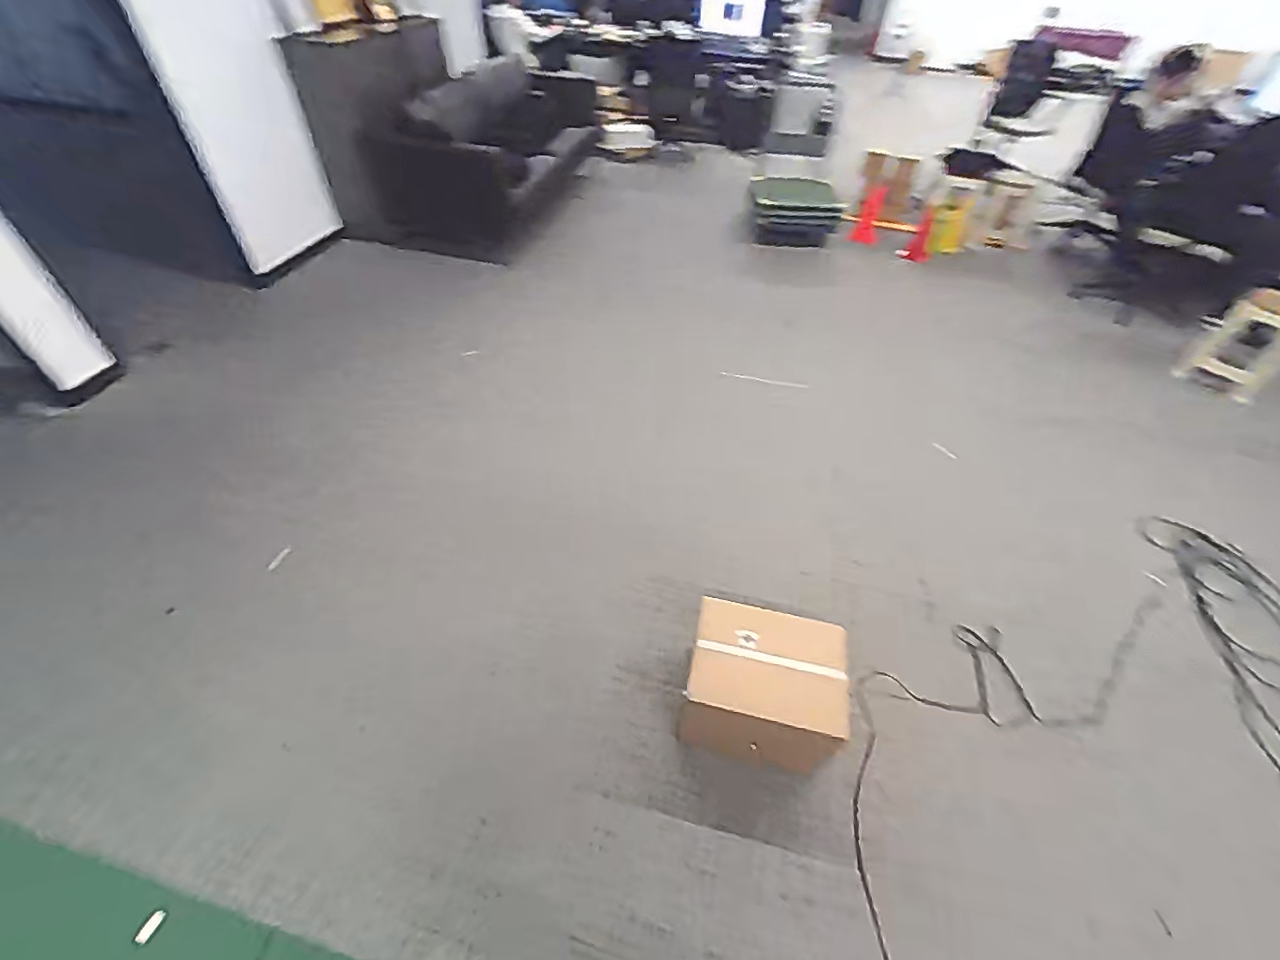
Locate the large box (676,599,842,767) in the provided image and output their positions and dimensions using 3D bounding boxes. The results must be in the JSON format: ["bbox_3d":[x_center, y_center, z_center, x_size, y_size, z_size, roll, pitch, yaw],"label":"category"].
[{"bbox_3d":[0.331,0.586,1.558,0.408,0.320,0.320,9,45,7],"label":"large box"}]
